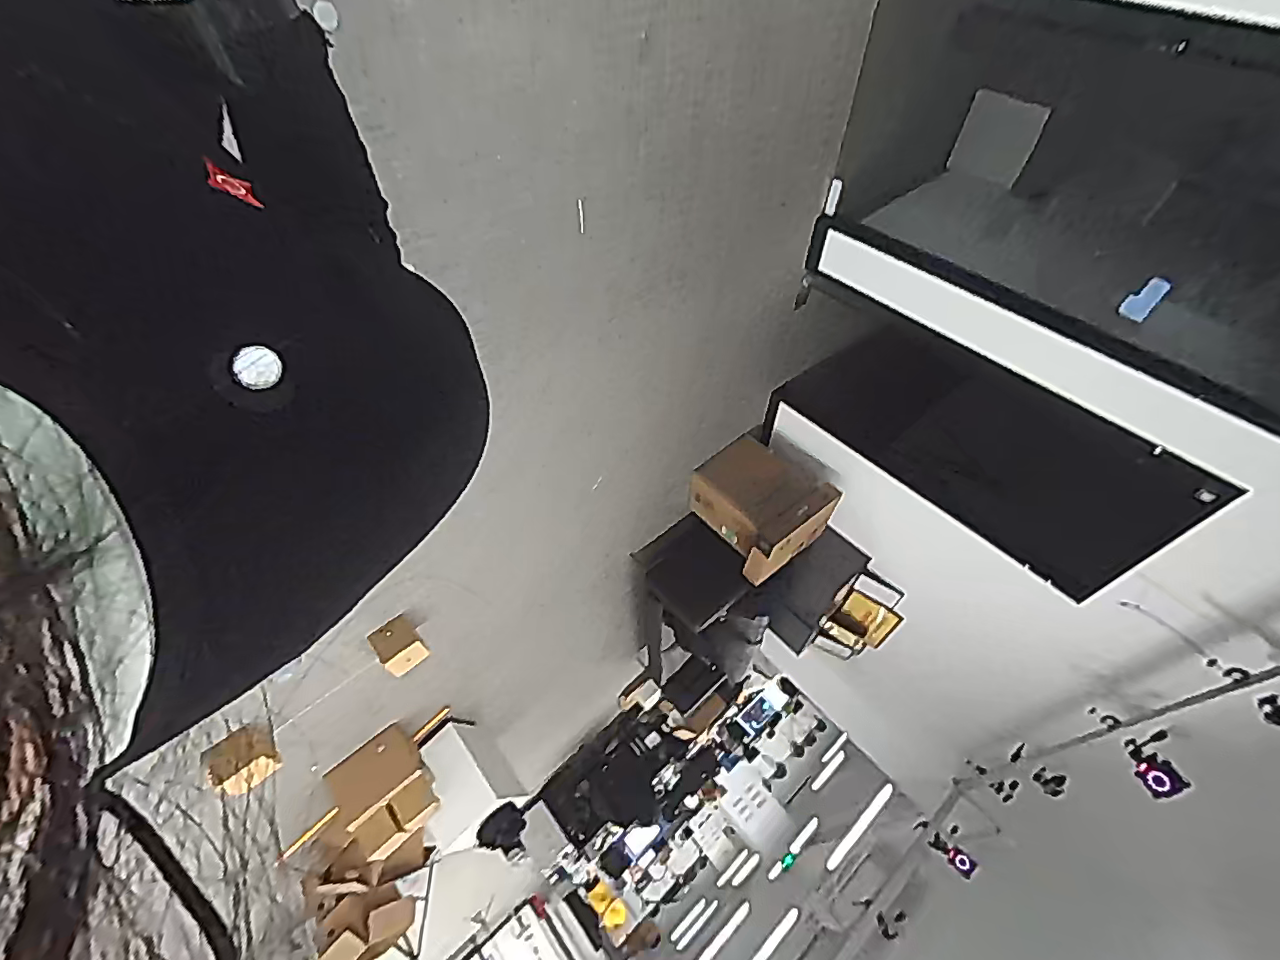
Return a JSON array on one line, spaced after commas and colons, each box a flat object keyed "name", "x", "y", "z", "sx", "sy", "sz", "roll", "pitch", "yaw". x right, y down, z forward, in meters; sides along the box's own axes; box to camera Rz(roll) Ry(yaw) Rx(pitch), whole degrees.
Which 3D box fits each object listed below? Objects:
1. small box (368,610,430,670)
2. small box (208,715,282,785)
[{"name": "small box", "x": -1.086, "y": 0.717, "z": 2.435, "sx": 0.168, "sy": 0.176, "sz": 0.179, "roll": -35, "pitch": 151, "yaw": -22}, {"name": "small box", "x": -1.604, "y": 1.092, "z": 2.190, "sx": 0.179, "sy": 0.176, "sz": 0.168, "roll": -36, "pitch": 150, "yaw": -22}]
